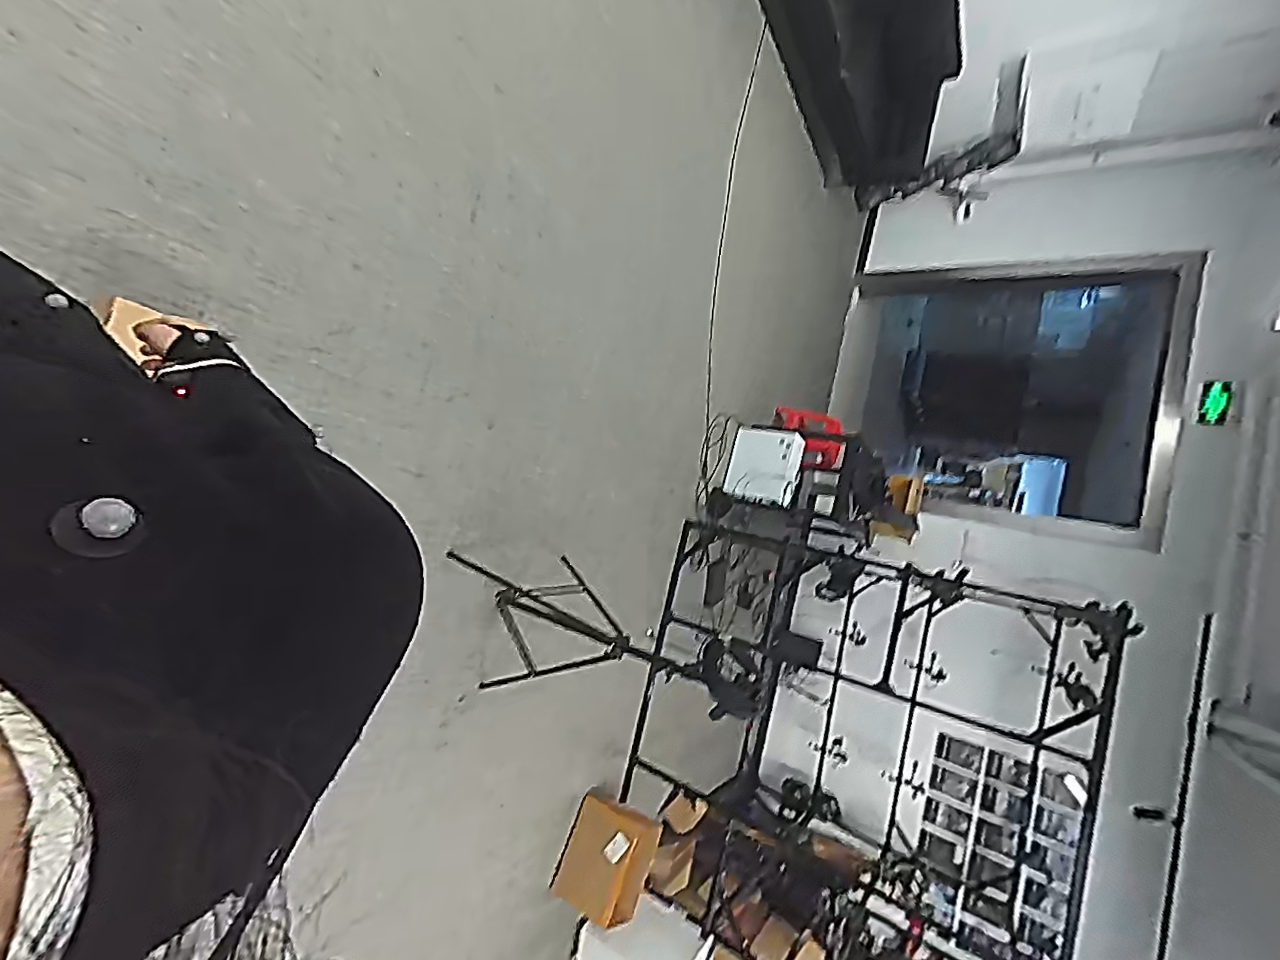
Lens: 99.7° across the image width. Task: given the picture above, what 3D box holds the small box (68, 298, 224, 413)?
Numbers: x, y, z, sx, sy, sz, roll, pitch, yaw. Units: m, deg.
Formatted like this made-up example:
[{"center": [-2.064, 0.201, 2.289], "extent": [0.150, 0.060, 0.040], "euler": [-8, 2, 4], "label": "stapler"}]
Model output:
[{"center": [-0.990, -0.243, 1.083], "extent": [0.179, 0.176, 0.168], "euler": [25, 78, -55], "label": "small box"}]
